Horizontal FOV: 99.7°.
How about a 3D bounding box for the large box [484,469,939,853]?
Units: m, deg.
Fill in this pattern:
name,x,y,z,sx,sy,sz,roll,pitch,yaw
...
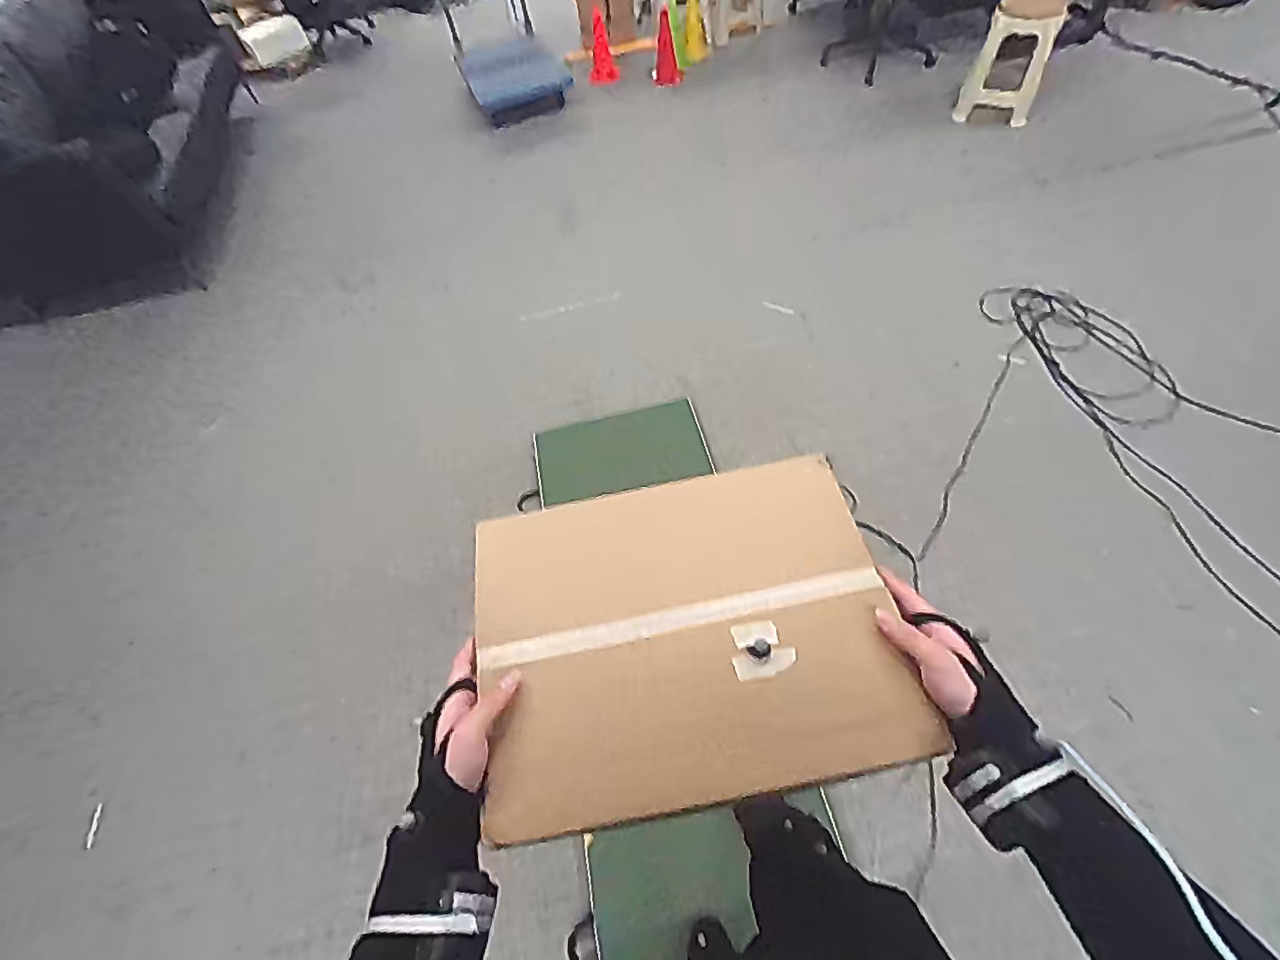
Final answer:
name,x,y,z,sx,sy,sz,roll,pitch,yaw
large box,0.054,0.233,0.669,0.408,0.320,0.320,-12,57,-1
